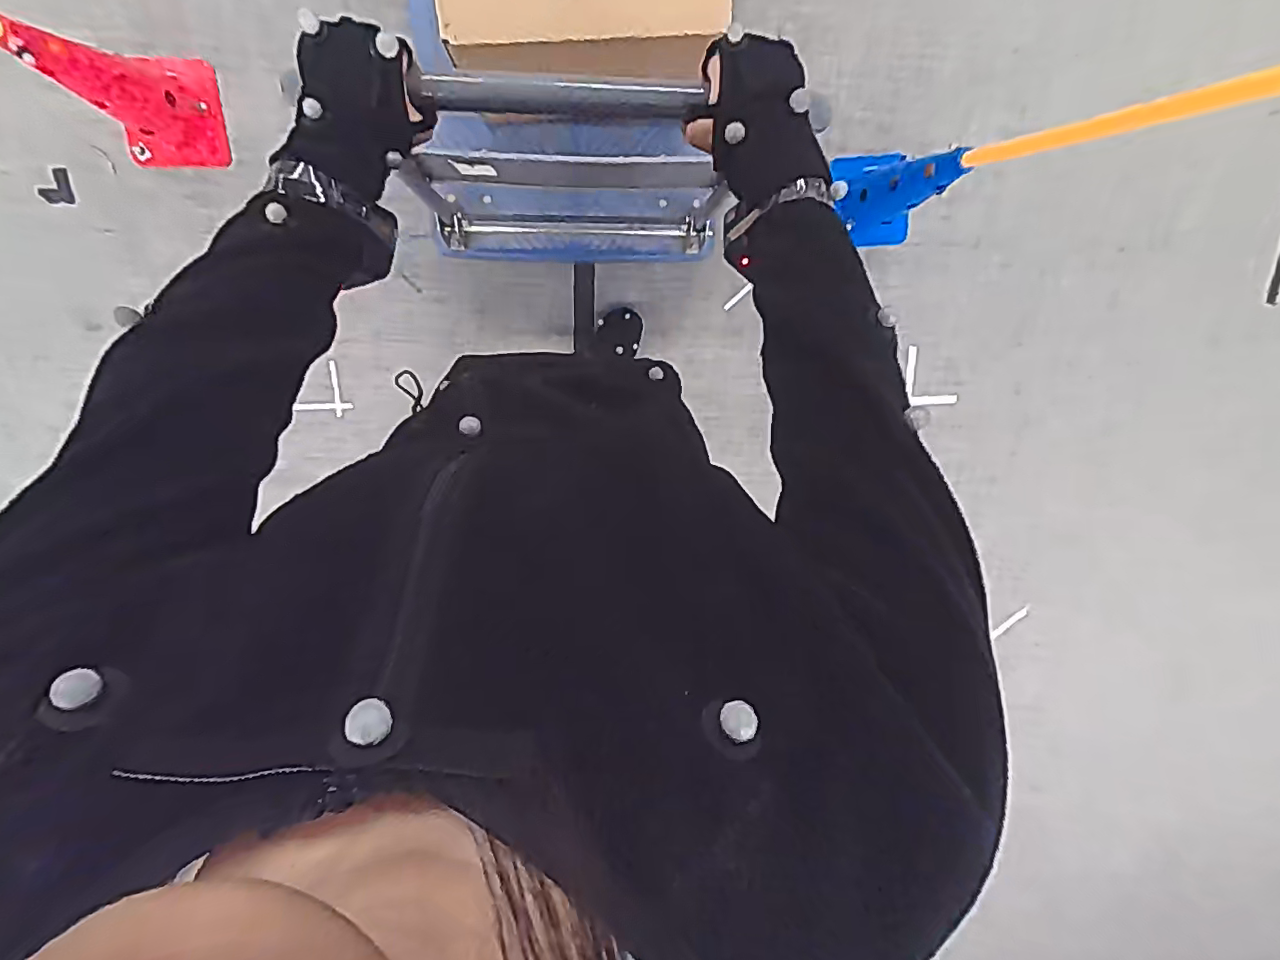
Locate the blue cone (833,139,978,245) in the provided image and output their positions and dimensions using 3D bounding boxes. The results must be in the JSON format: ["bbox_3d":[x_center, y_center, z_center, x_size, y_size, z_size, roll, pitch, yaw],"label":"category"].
[{"bbox_3d":[0.570,-0.626,1.142,0.193,0.380,0.192,-4,105,-4],"label":"blue cone"}]
